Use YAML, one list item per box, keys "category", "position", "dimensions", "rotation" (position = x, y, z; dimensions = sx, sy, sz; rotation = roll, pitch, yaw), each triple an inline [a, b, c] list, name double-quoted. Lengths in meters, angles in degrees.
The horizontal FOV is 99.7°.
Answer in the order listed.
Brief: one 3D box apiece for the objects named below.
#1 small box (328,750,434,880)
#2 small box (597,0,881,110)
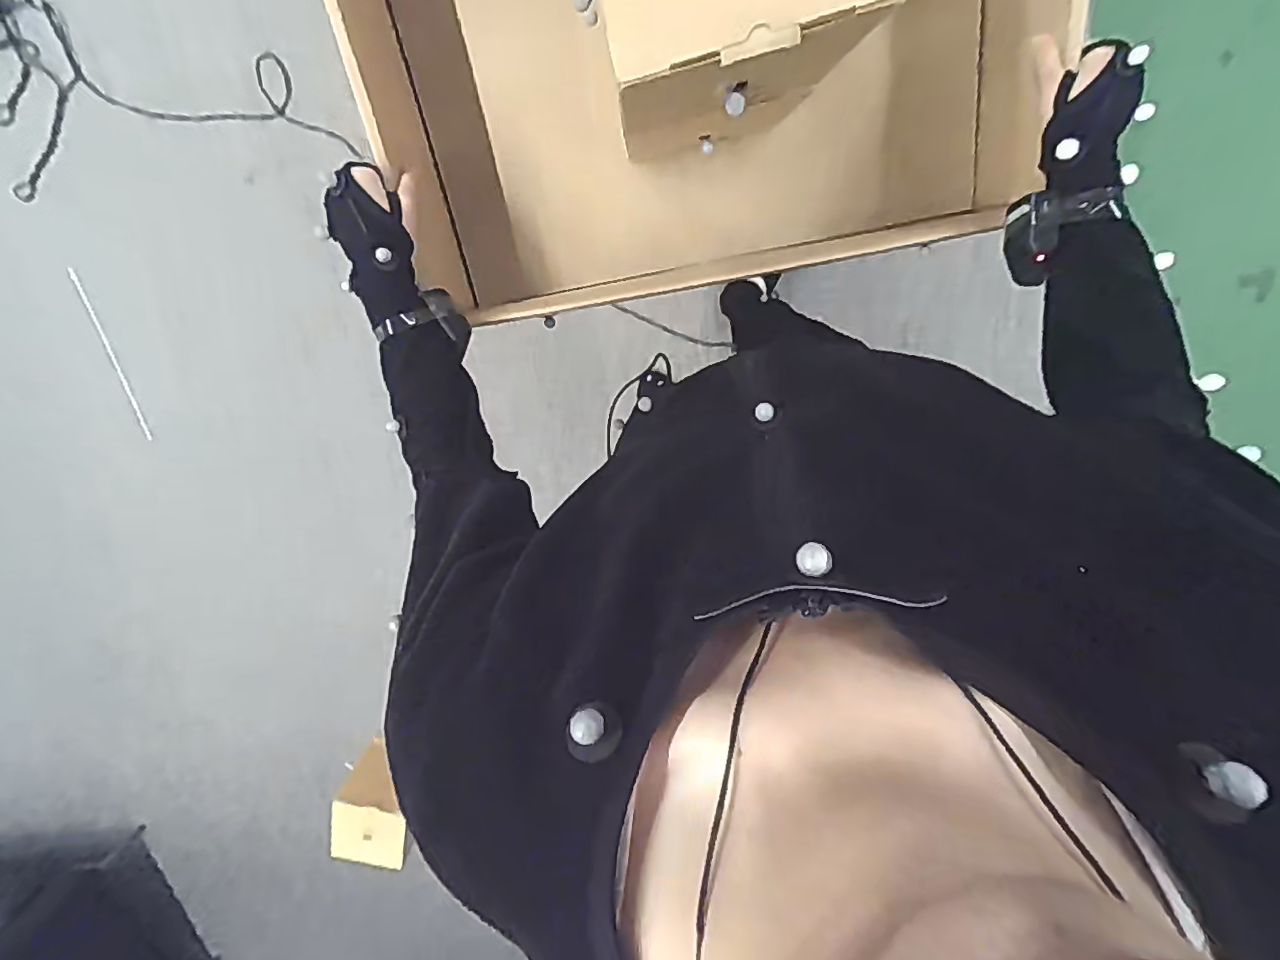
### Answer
- category: "small box"
  position: [-0.592, 0.768, 1.251]
  dimensions: [0.168, 0.176, 0.179]
  rotation: [12, 109, -1]
- category: "small box"
  position: [0.047, -0.357, 0.335]
  dimensions: [0.168, 0.176, 0.179]
  rotation: [-13, 113, 6]
